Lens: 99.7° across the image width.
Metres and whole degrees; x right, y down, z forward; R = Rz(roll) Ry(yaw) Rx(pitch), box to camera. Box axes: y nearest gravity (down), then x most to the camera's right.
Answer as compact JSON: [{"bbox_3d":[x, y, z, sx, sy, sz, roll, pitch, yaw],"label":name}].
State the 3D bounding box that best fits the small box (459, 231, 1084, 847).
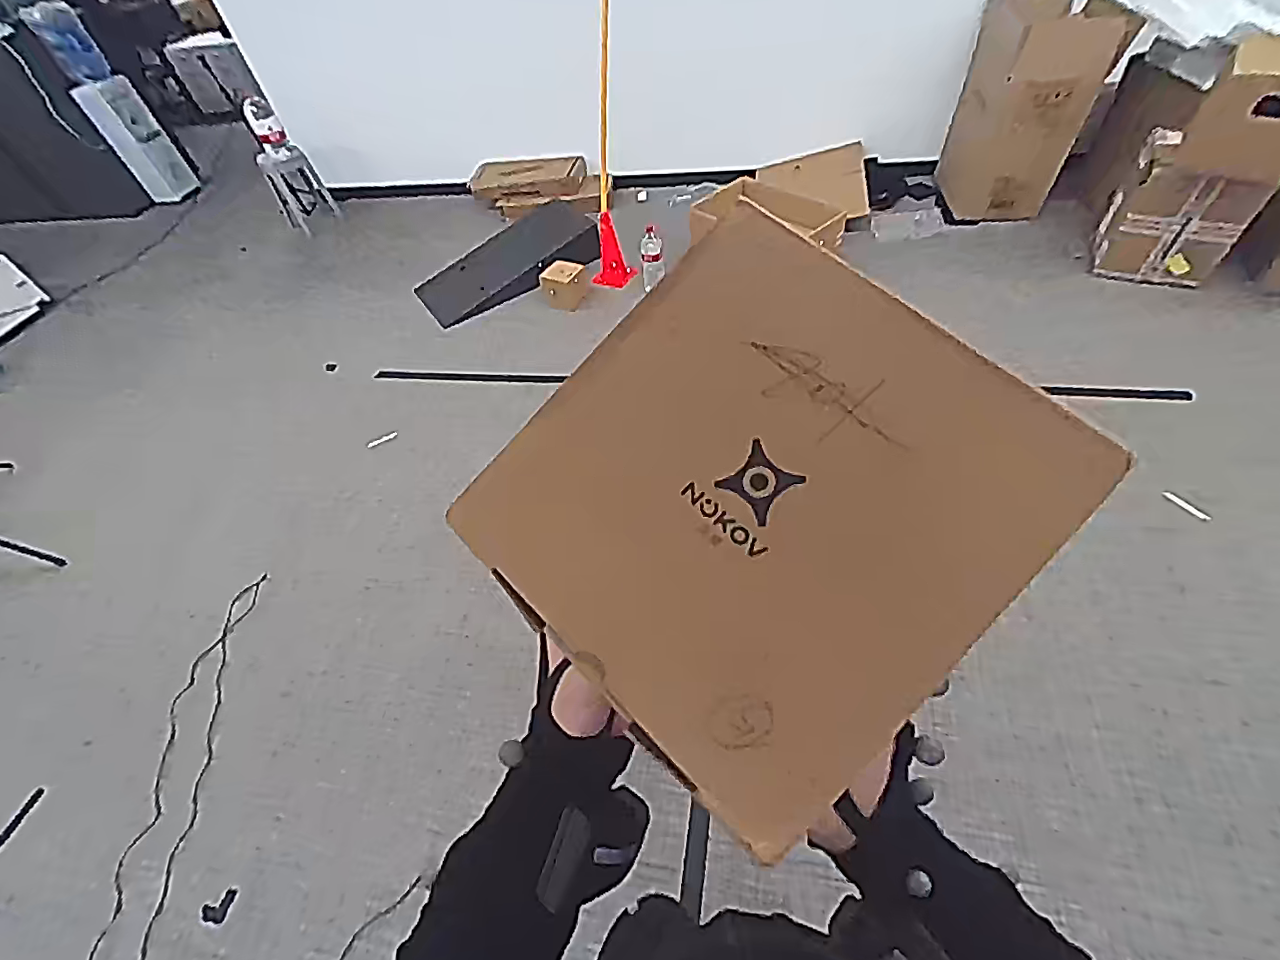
[{"bbox_3d":[0.053,0.026,0.279,0.168,0.176,0.179,41,88,16],"label":"small box"}]
